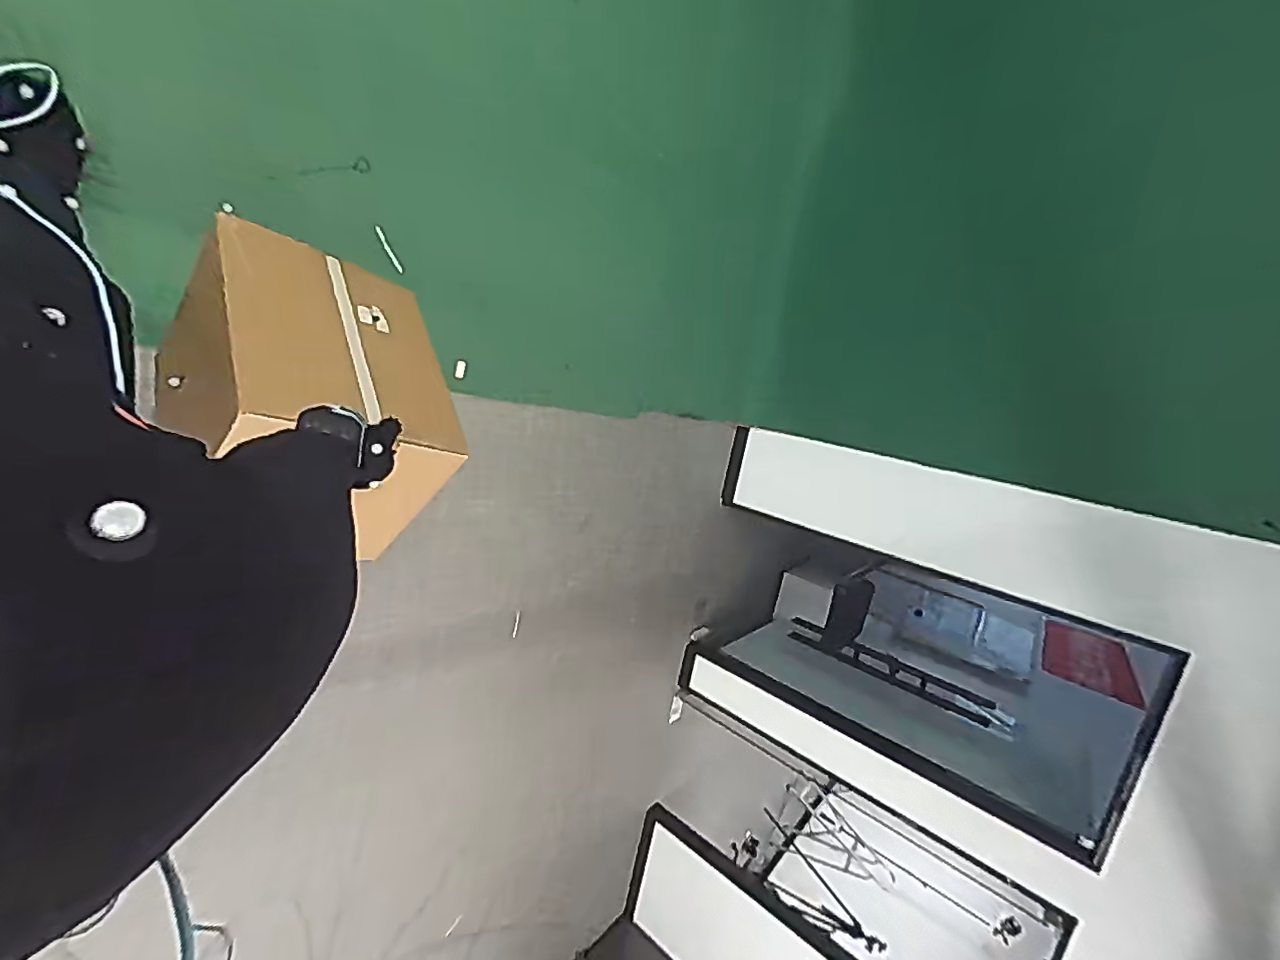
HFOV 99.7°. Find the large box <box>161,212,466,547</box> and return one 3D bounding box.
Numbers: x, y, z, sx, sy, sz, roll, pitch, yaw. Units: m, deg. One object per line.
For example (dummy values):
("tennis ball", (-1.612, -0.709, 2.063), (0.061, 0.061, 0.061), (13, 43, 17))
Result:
("large box", (-0.553, -0.135, 0.899), (0.320, 0.408, 0.320), (-41, 151, 24))
